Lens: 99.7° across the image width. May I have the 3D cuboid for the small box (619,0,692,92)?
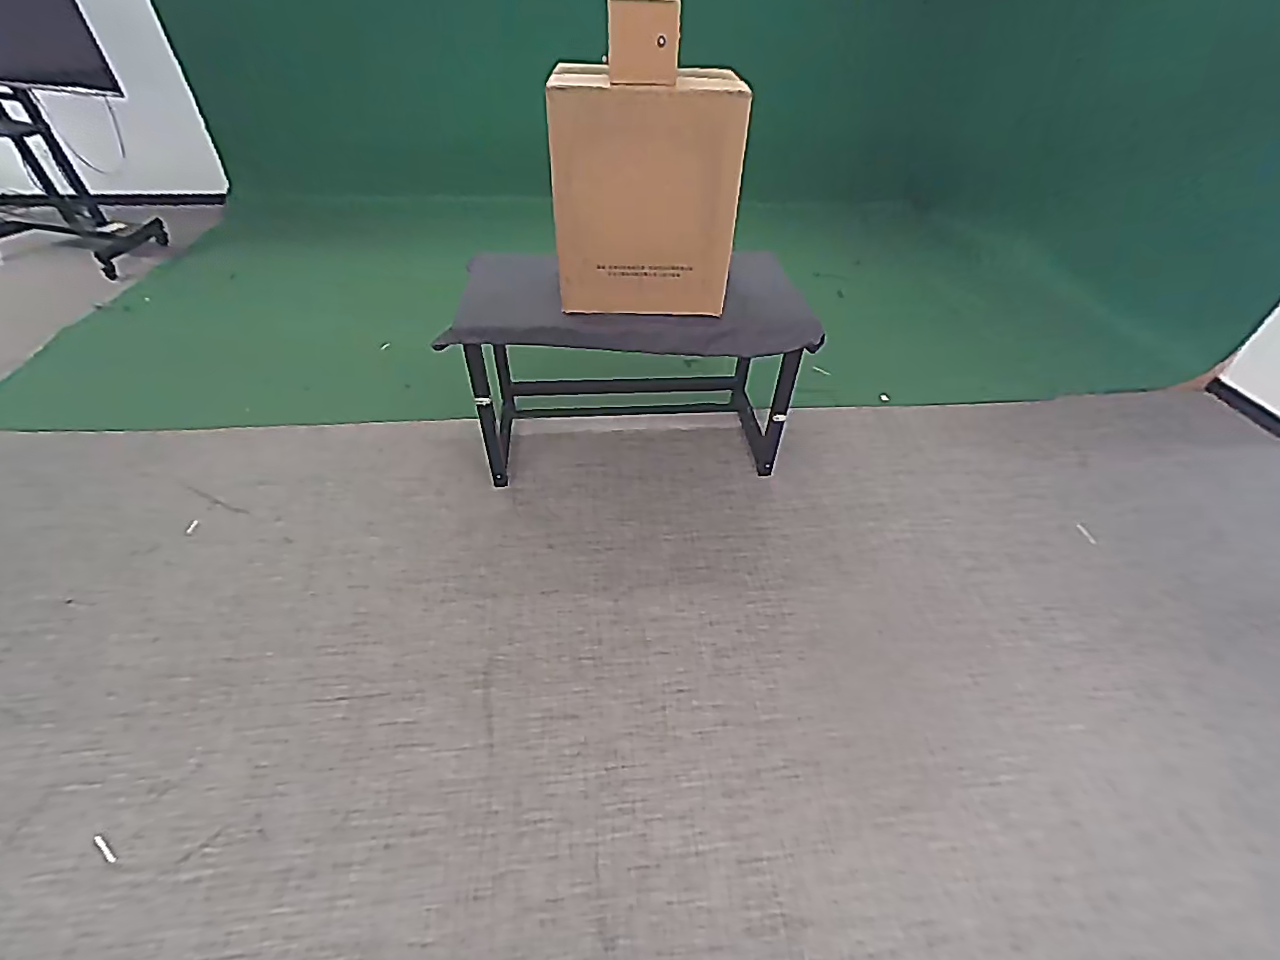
[{"bbox_3d":[0.035,-1.127,1.407,0.179,0.176,0.168,-1,45,-2],"label":"small box"}]
